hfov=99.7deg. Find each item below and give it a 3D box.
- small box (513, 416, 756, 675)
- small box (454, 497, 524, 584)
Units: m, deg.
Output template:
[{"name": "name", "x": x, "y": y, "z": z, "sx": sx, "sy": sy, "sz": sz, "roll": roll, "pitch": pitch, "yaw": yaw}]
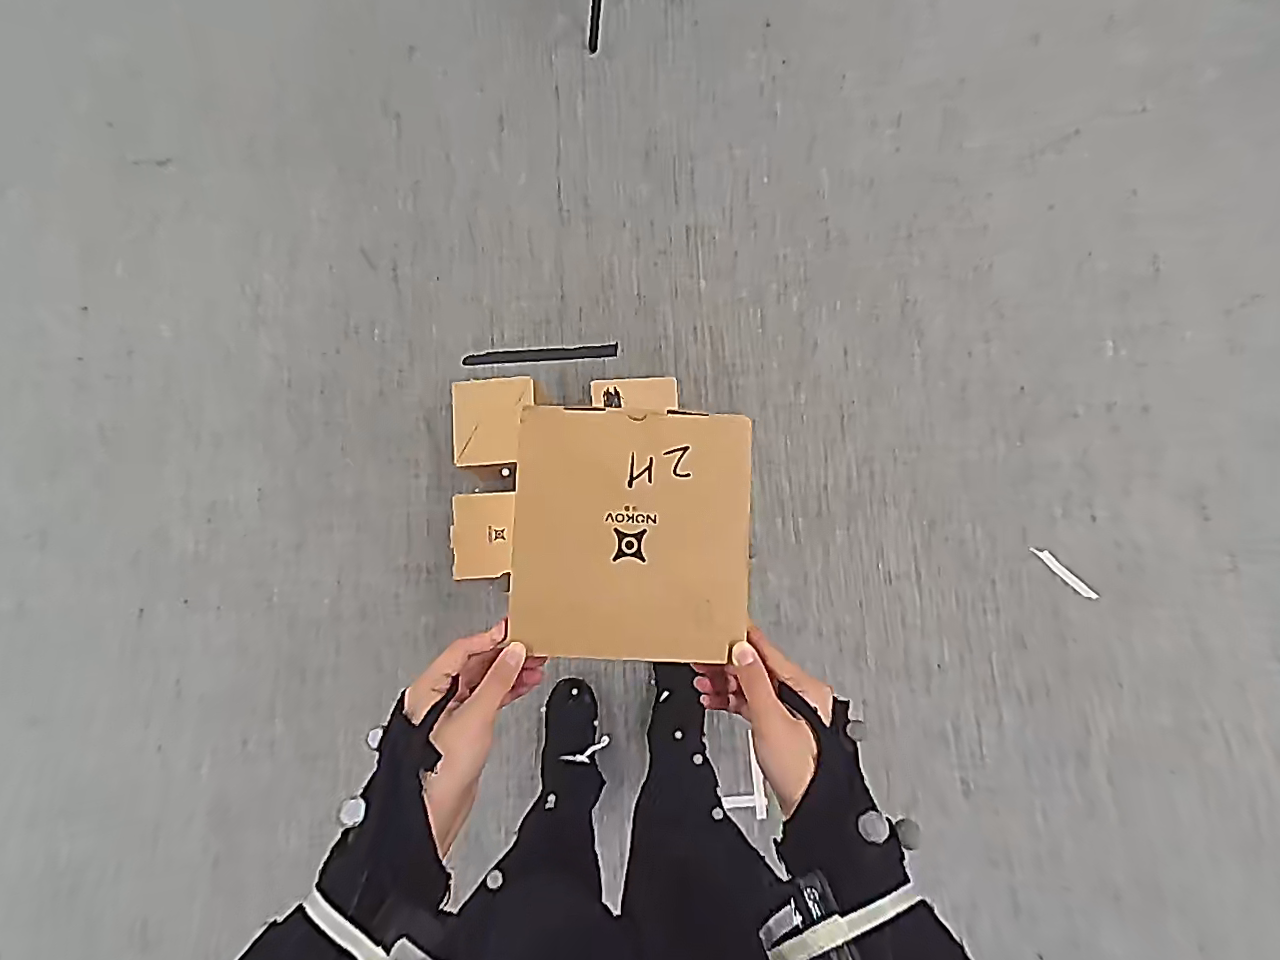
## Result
[{"name": "small box", "x": -0.004, "y": 0.051, "z": 0.460, "sx": 0.168, "sy": 0.176, "sz": 0.179, "roll": 3, "pitch": 85, "yaw": -1}, {"name": "small box", "x": -0.273, "y": 0.126, "z": 1.126, "sx": 0.179, "sy": 0.176, "sz": 0.168, "roll": -4, "pitch": 81, "yaw": 1}]
